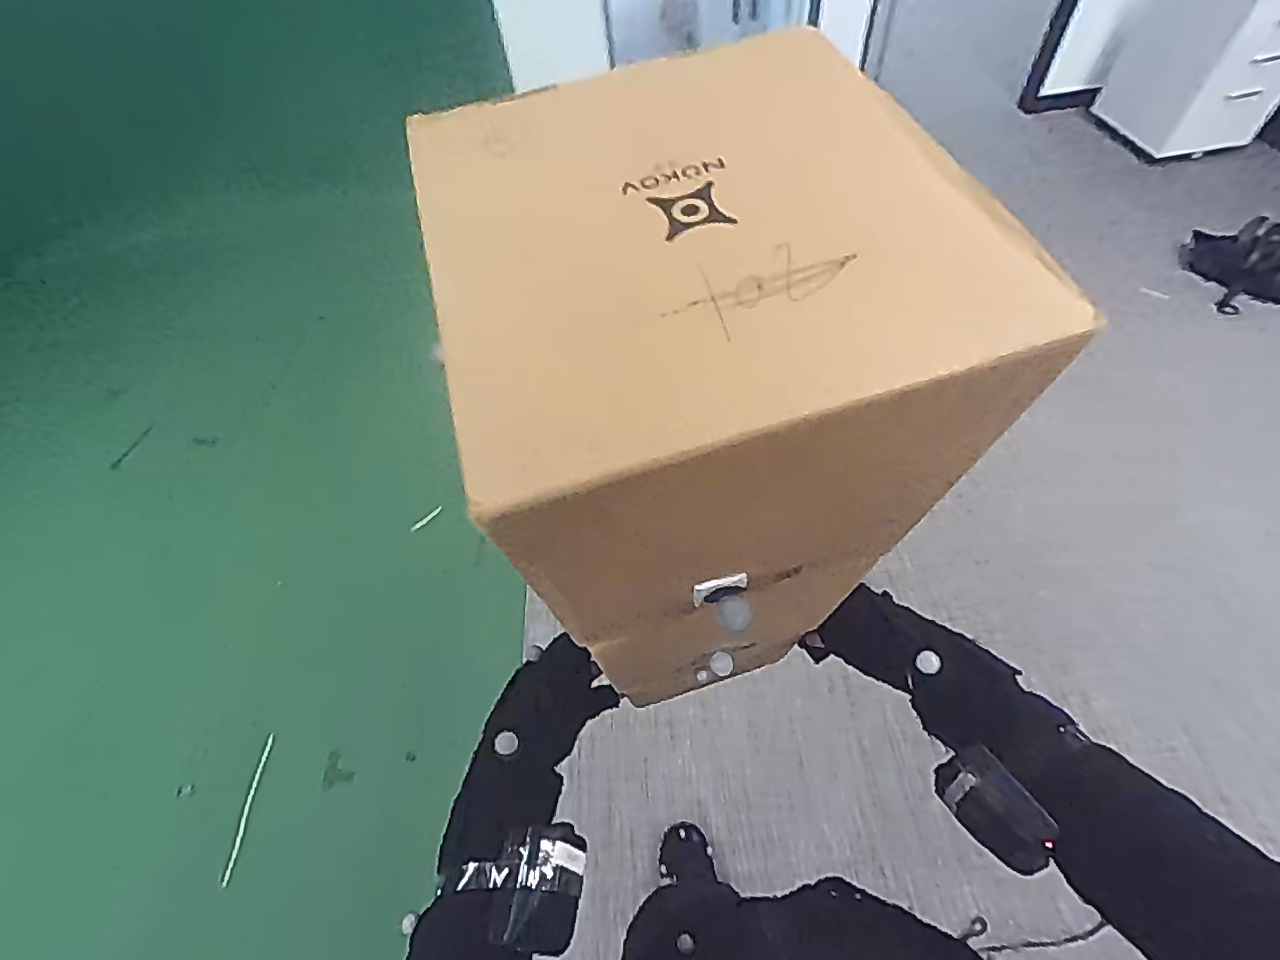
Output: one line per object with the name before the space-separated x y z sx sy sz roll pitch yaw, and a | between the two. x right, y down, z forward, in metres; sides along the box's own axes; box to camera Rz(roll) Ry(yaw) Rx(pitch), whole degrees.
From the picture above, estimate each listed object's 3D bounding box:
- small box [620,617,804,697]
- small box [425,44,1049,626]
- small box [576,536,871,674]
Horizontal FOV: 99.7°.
small box | 0.042 0.097 0.543 0.168 0.176 0.179 -17 61 -4
small box | 0.019 -0.053 0.254 0.168 0.176 0.179 -17 63 -4
small box | 0.030 0.023 0.397 0.168 0.176 0.179 -16 62 -4
